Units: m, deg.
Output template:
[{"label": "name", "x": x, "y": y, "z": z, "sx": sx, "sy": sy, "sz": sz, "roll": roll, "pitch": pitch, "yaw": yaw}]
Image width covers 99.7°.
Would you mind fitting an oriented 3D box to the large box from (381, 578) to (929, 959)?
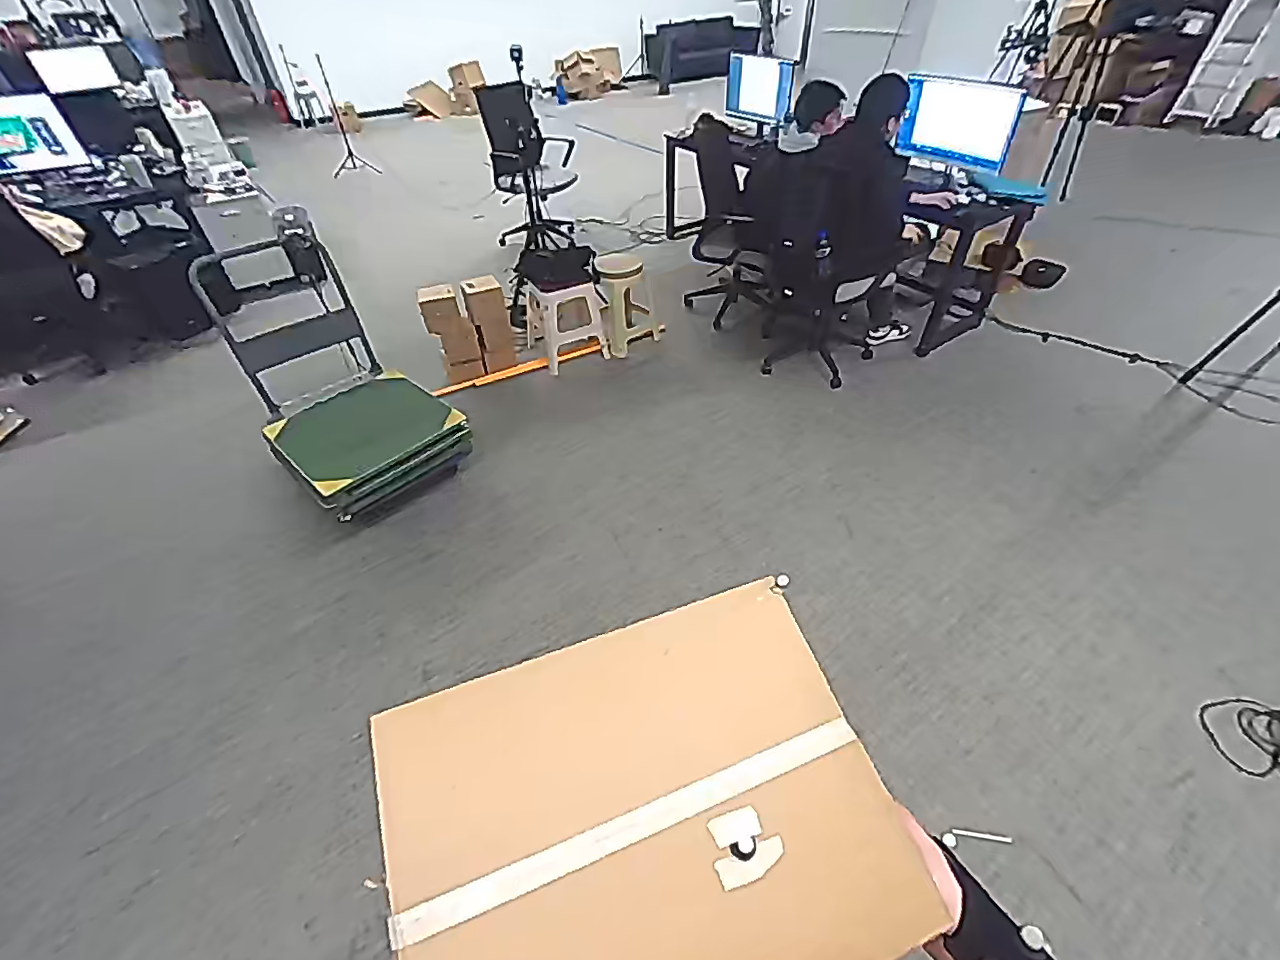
[{"label": "large box", "x": -0.008, "y": 0.360, "z": 0.591, "sx": 0.408, "sy": 0.320, "sz": 0.320, "roll": -16, "pitch": 63, "yaw": -15}]
